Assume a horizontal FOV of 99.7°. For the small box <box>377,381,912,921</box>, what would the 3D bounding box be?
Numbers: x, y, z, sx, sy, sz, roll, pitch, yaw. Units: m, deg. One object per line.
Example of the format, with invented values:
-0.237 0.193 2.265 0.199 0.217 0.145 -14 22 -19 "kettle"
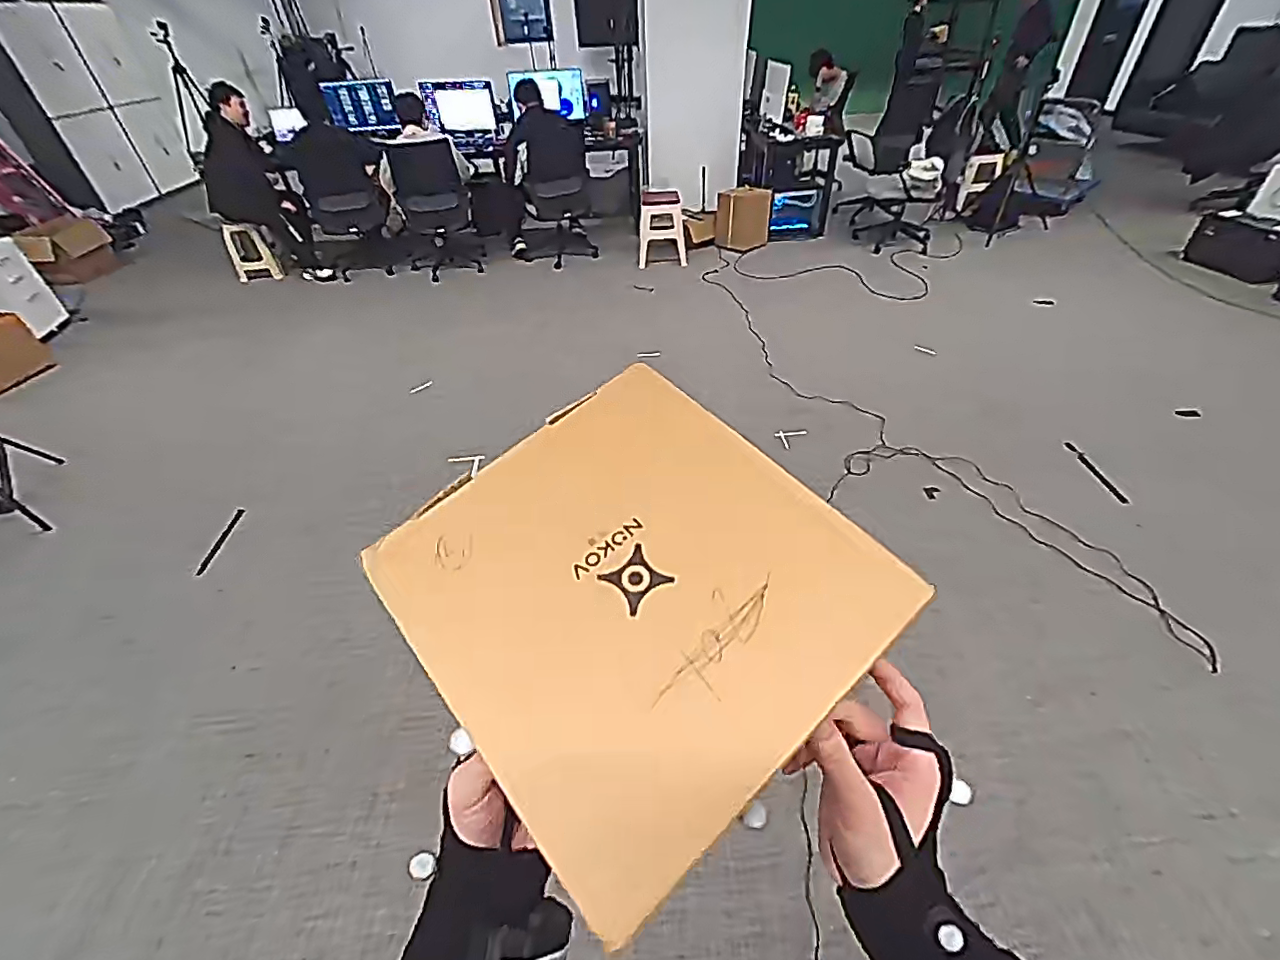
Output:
0.001 0.086 0.300 0.168 0.176 0.179 -40 64 -18 "small box"
